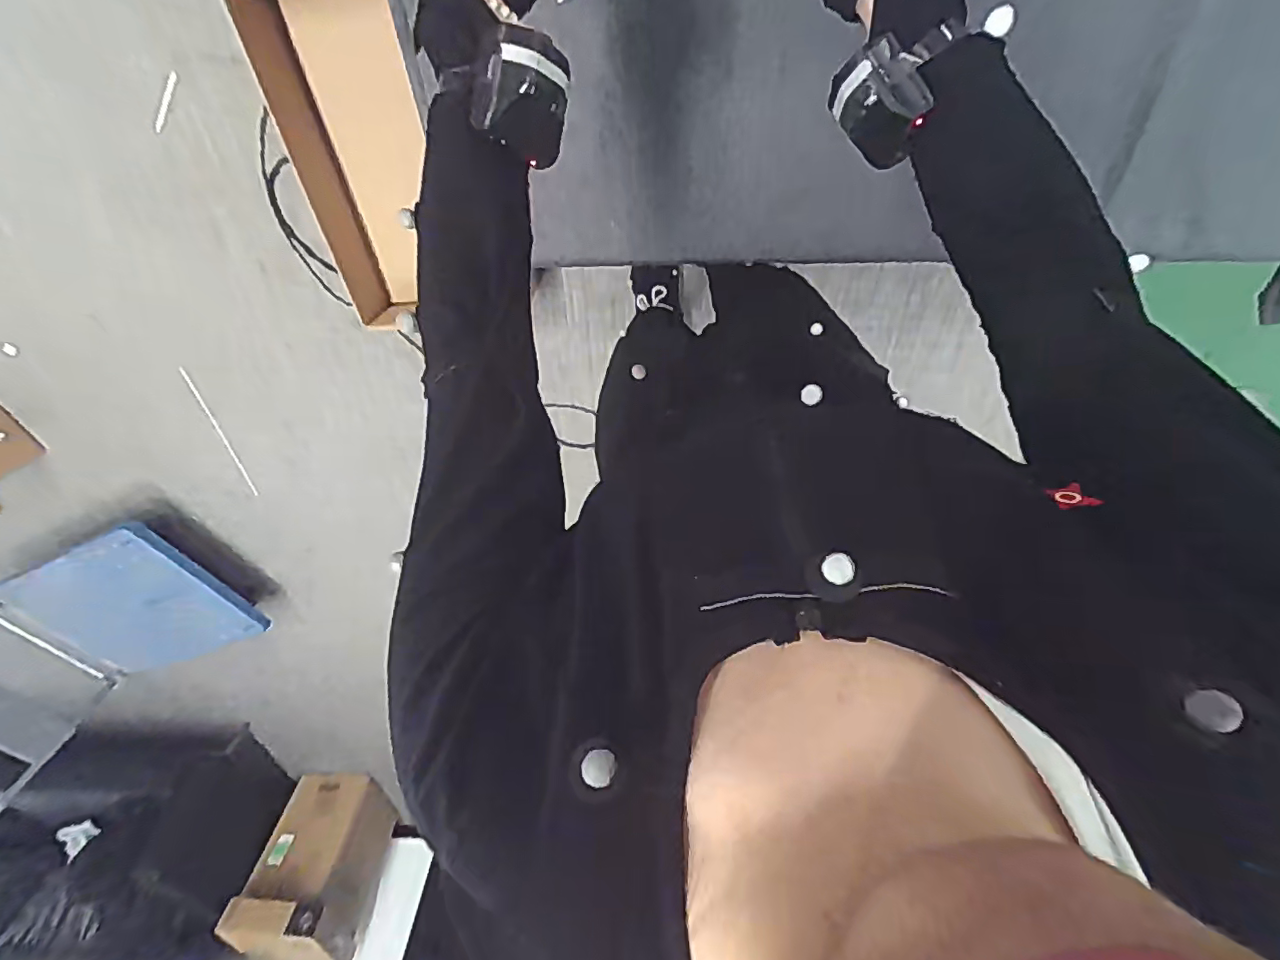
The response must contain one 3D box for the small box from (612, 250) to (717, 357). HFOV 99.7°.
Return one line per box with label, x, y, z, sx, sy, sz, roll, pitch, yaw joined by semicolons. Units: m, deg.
small box;0.053;-0.427;1.307;0.179;0.176;0.168;38;129;4
